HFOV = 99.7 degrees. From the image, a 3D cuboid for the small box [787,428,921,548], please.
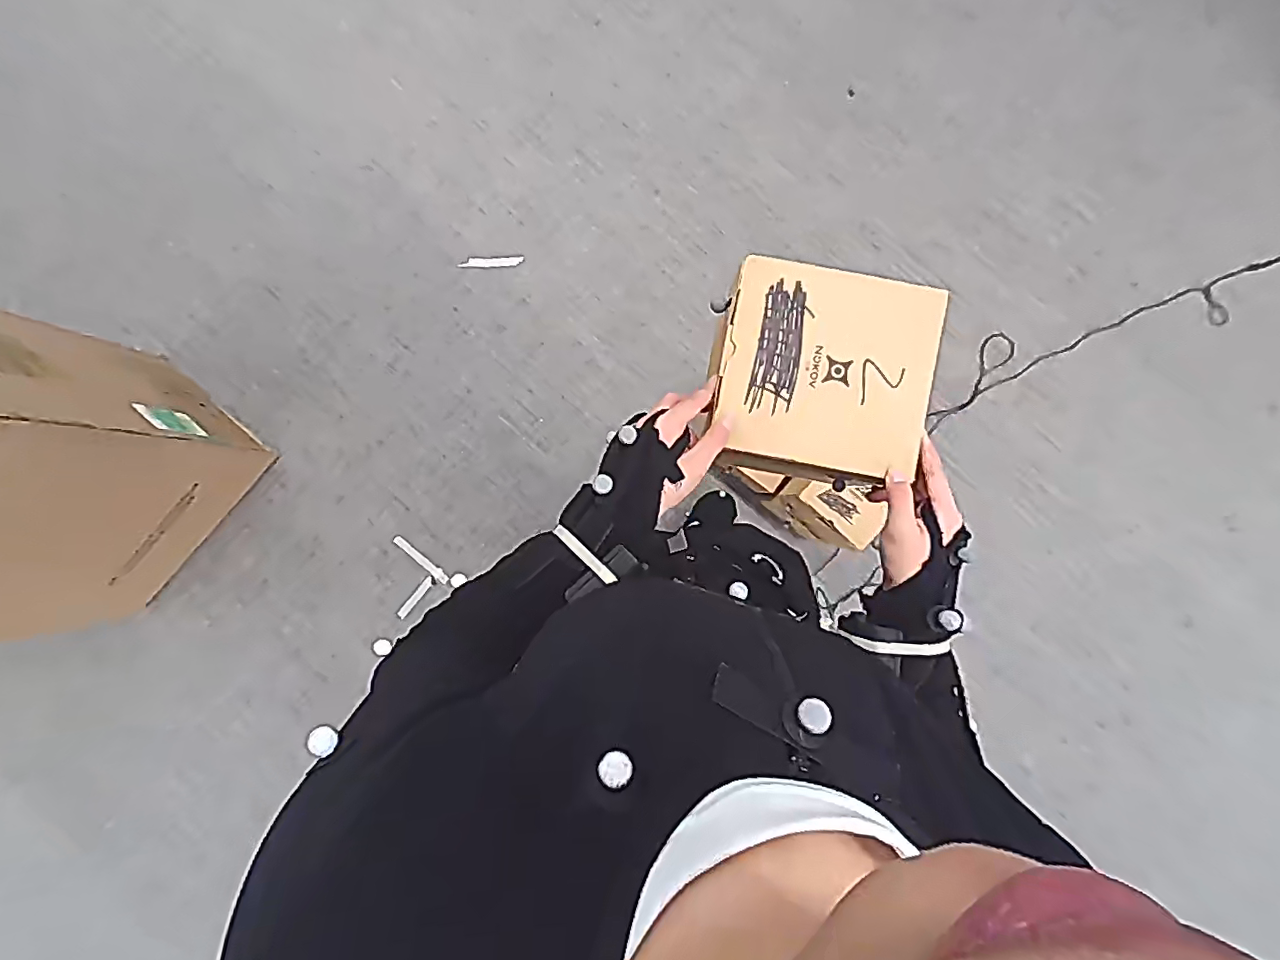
[{"bbox_3d":[0.429,0.018,1.123,0.168,0.176,0.179,43,88,1],"label":"small box"}]
